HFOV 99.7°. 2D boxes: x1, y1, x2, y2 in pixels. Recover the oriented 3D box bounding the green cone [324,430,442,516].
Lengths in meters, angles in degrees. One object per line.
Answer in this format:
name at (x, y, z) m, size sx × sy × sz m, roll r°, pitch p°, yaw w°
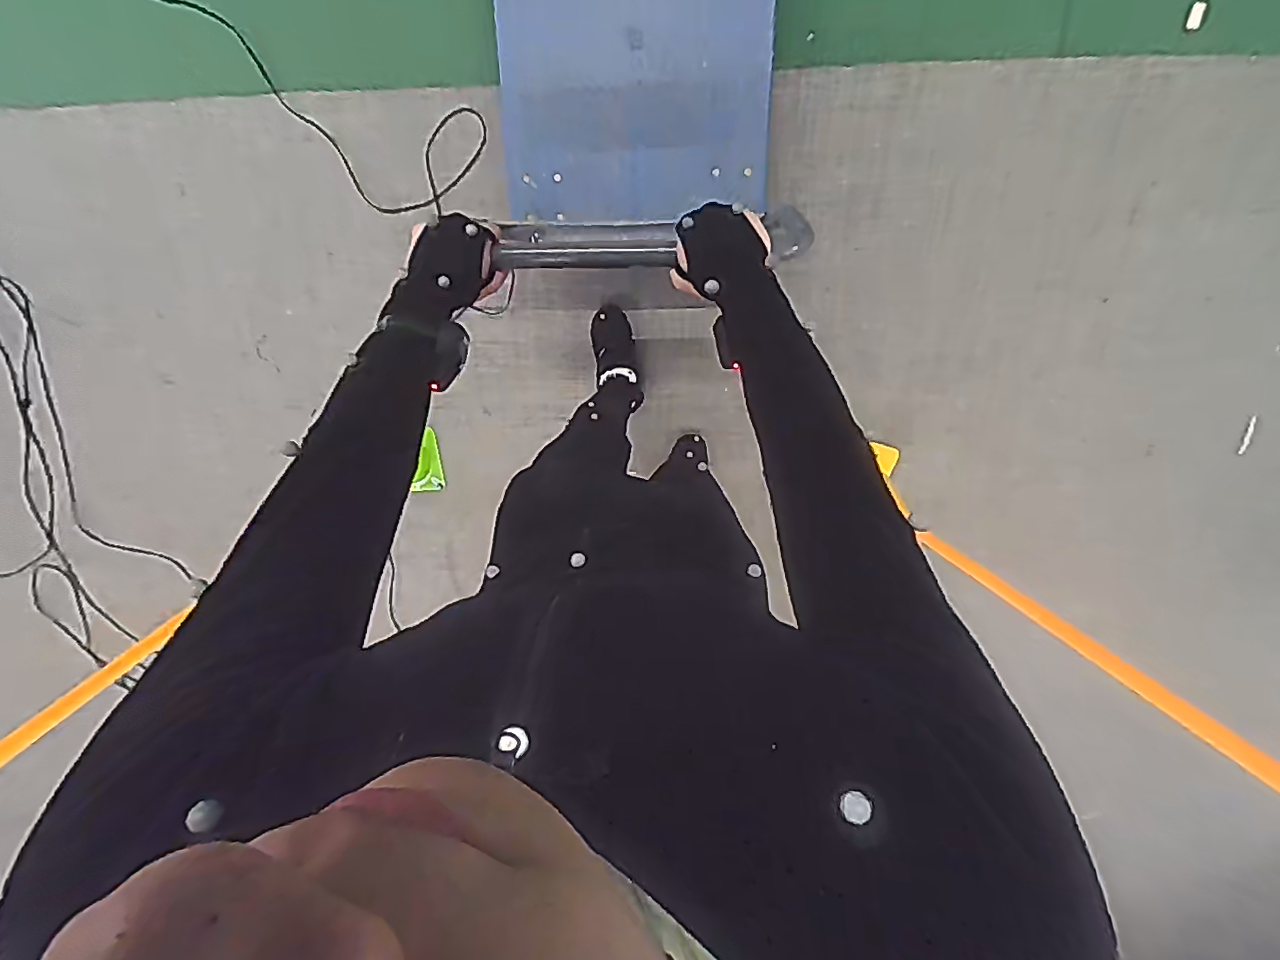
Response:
green cone at (-0.726, 0.006, 1.477) m, size 0.202 × 0.368 × 0.200 m, roll -3°, pitch 109°, yaw 7°
